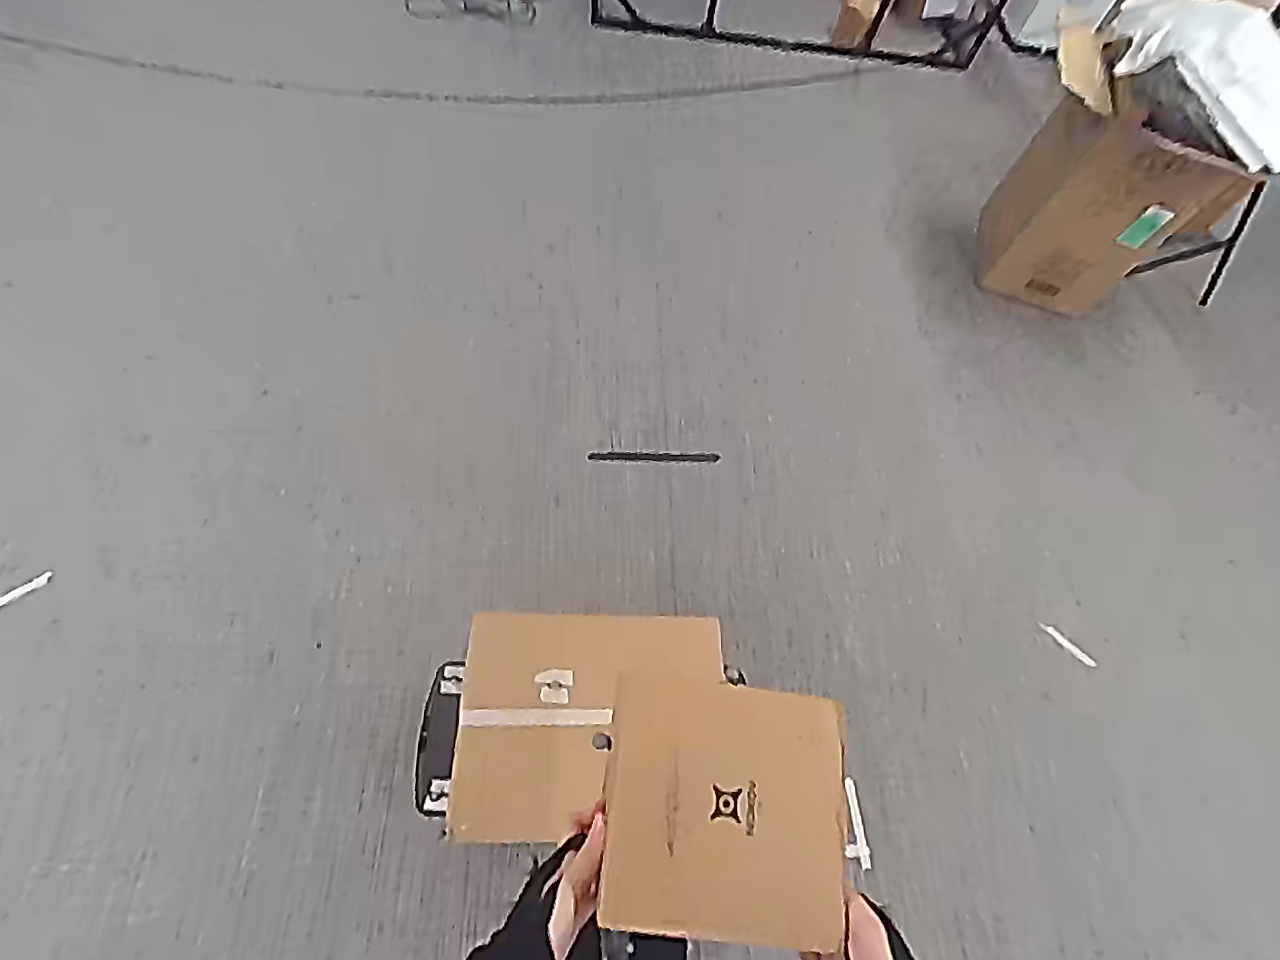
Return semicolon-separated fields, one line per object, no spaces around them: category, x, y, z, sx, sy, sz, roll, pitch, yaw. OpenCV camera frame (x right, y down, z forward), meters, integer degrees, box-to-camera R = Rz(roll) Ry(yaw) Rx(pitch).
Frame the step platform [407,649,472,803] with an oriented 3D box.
step platform;-0.114;0.541;1.141;0.684;0.204;0.286;7;62;-2

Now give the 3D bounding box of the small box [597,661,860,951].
small box;0.064;0.251;0.458;0.179;0.176;0.168;9;70;-2

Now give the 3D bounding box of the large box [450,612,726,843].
large box;-0.072;0.419;0.939;0.408;0.320;0.320;2;62;-5
